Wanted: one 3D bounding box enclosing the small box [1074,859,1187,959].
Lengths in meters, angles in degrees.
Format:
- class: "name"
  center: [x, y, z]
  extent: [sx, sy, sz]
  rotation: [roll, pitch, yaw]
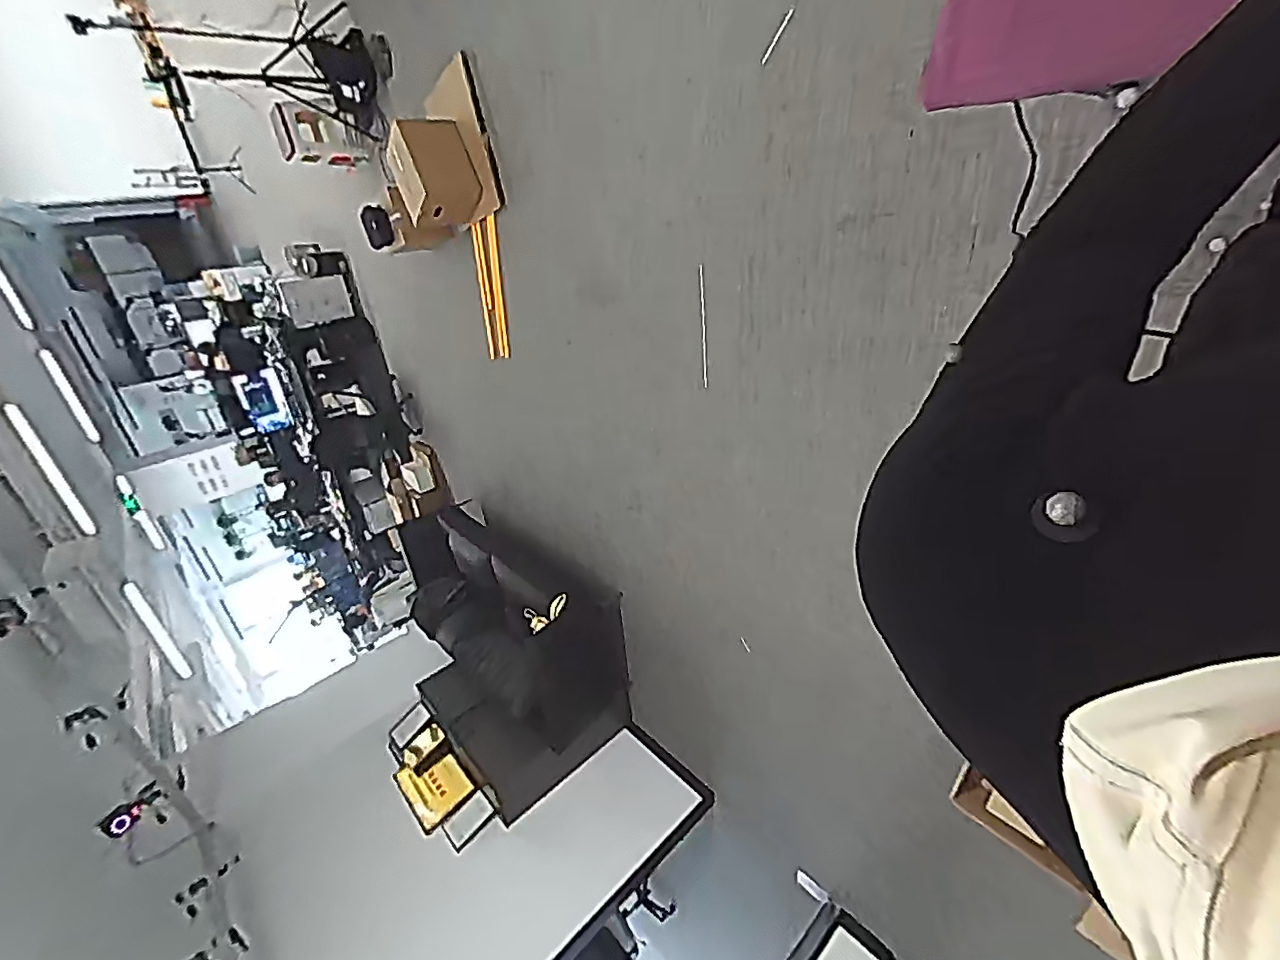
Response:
- class: "small box"
  center: [1.277, 1.150, 1.407]
  extent: [0.168, 0.176, 0.179]
  rotation: [25, 131, 42]
